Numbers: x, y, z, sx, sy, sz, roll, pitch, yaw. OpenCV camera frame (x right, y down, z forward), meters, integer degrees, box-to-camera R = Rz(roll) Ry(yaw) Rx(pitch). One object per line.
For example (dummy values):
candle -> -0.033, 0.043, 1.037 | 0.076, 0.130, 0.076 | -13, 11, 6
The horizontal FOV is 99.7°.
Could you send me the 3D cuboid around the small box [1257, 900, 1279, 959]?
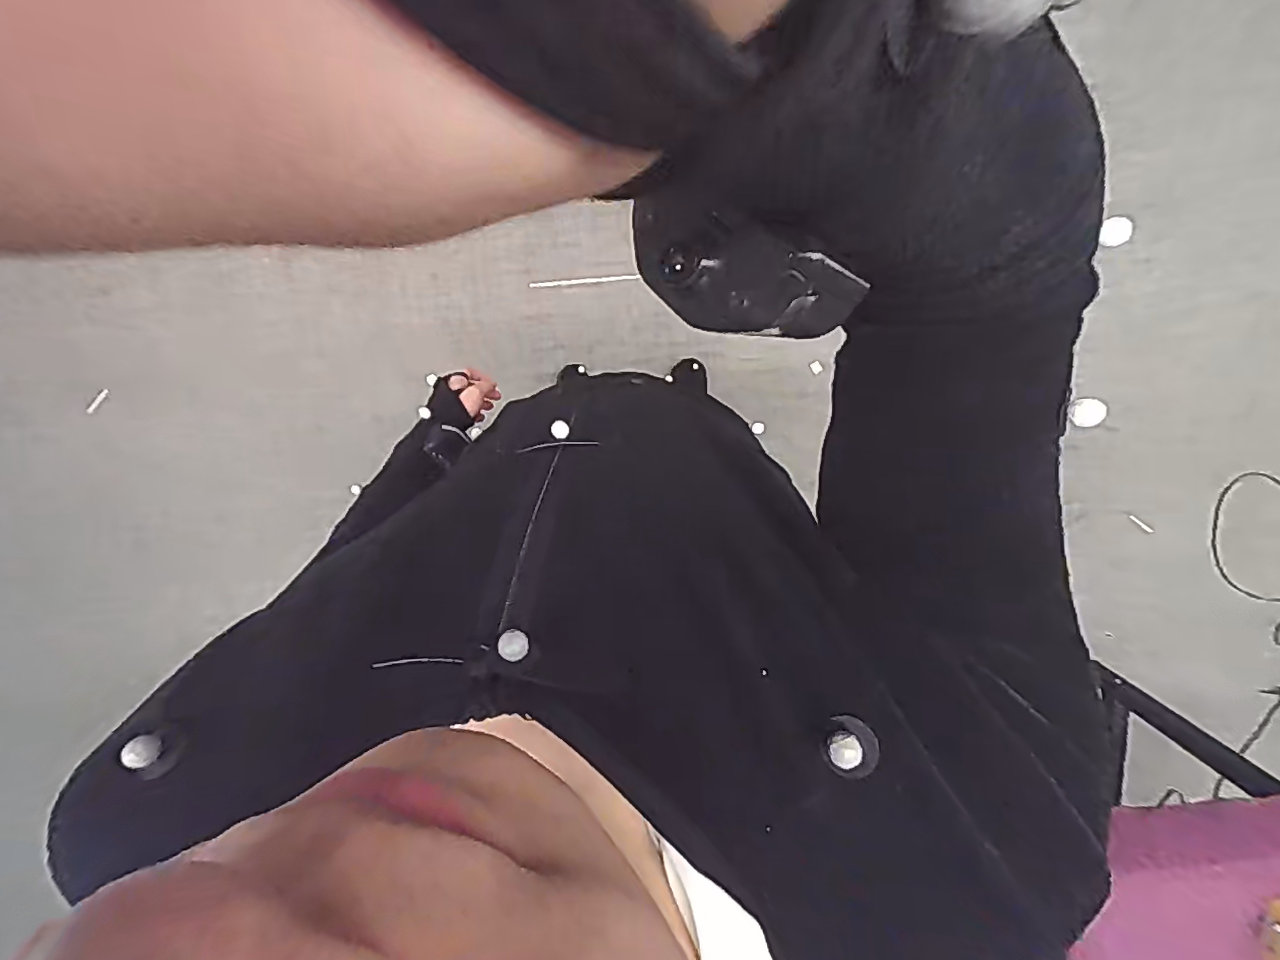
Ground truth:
small box -> 1.333, 0.921, 1.011 | 0.179, 0.176, 0.168 | -7, 102, 1
